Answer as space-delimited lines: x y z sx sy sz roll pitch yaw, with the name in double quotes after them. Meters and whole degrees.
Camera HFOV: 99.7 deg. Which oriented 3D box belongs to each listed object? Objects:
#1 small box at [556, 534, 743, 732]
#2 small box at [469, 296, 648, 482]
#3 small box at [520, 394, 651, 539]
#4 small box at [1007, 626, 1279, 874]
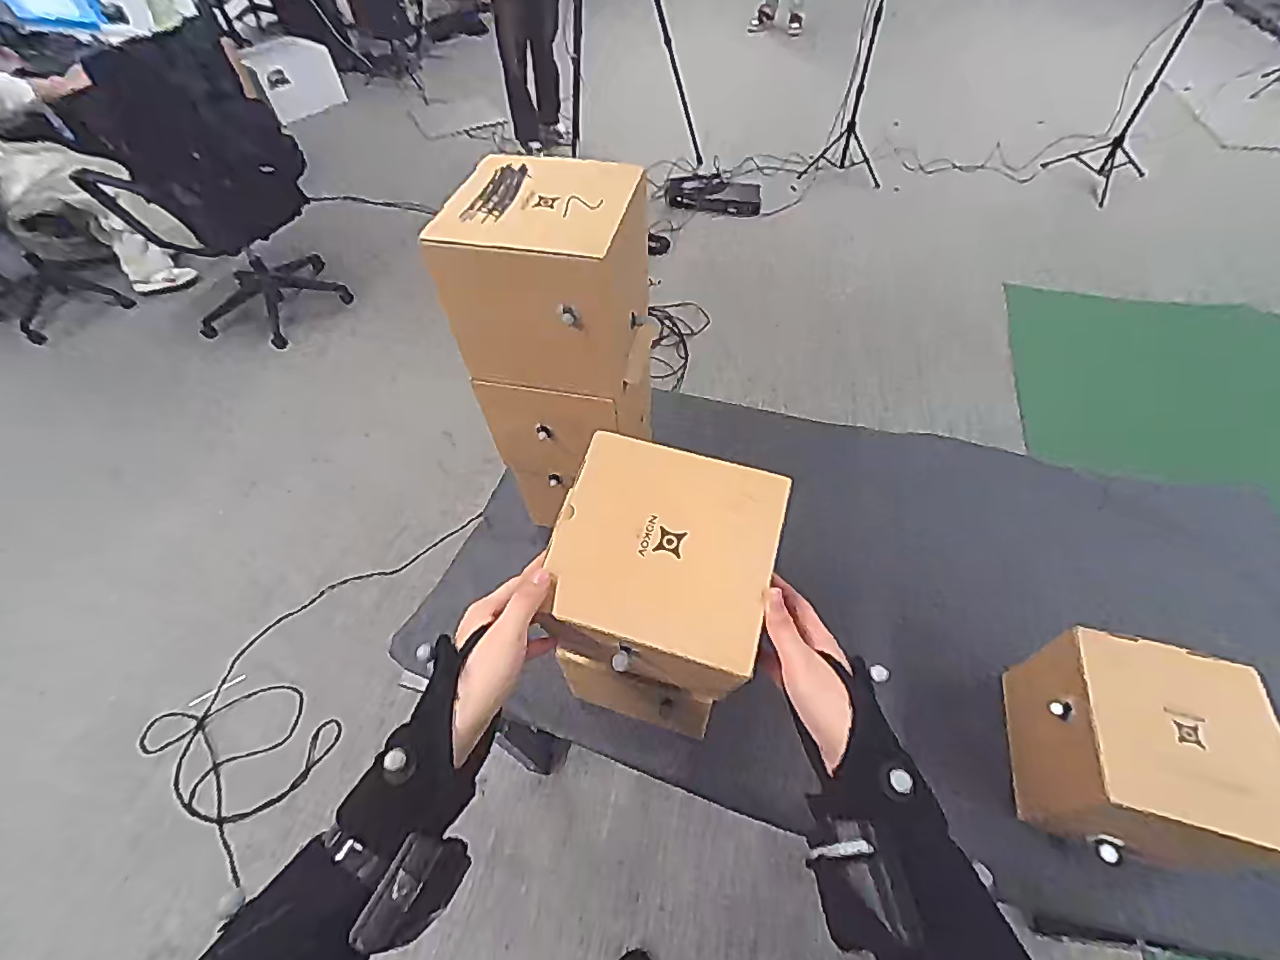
0.018 0.196 0.675 0.179 0.176 0.168 13 54 13 "small box"
-0.090 -0.115 0.713 0.179 0.176 0.168 8 55 10 "small box"
-0.079 -0.030 0.855 0.168 0.176 0.179 8 54 9 "small box"
0.522 0.288 0.576 0.168 0.176 0.179 11 53 13 "small box"
